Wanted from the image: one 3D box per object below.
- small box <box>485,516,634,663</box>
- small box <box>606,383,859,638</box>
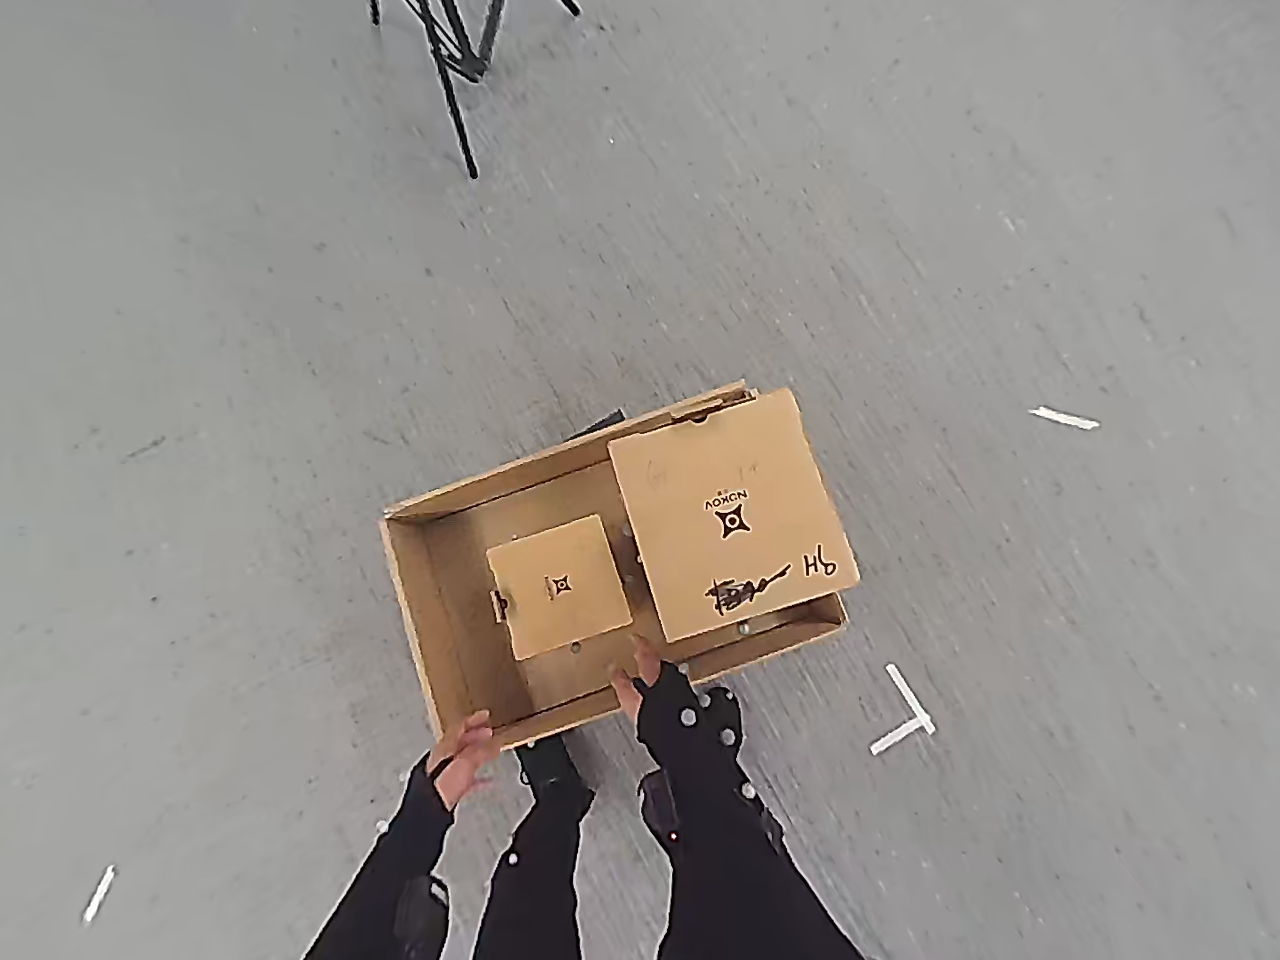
[{"bbox_3d":[-0.114,0.164,0.839,0.179,0.176,0.168,-19,80,0],"label":"small box"},{"bbox_3d":[0.076,0.036,0.515,0.168,0.176,0.179,-18,79,2],"label":"small box"}]
